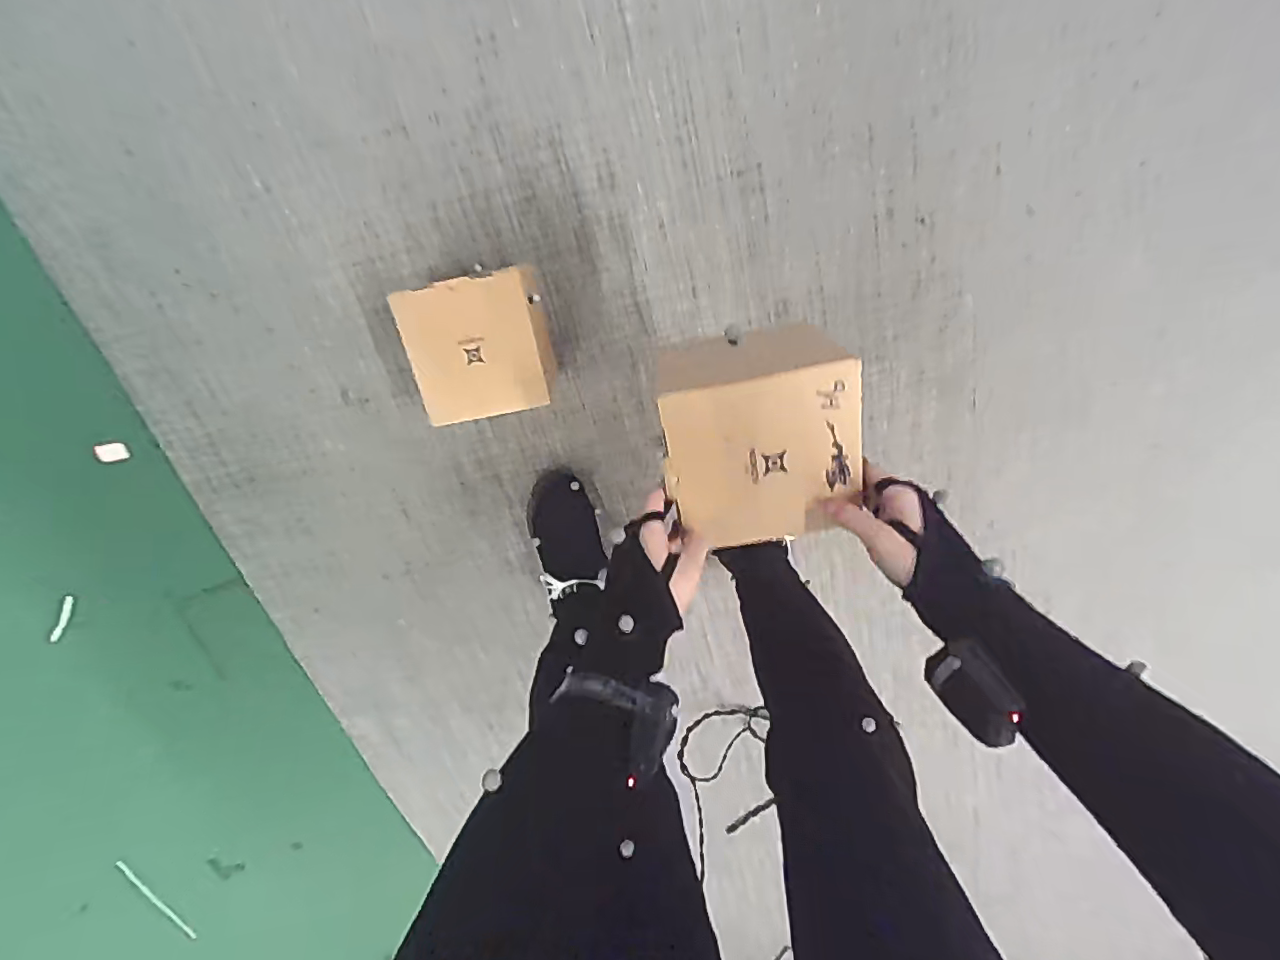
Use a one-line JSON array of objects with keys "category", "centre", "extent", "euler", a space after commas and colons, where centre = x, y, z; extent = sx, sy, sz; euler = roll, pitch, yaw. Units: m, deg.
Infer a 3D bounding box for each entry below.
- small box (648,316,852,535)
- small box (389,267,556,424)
[{"category": "small box", "centre": [0.109, -0.064, 0.569], "extent": [0.179, 0.176, 0.168], "euler": [-9, 117, 6]}, {"category": "small box", "centre": [-0.222, -0.198, 0.773], "extent": [0.168, 0.176, 0.179], "euler": [-11, 113, 0]}]
